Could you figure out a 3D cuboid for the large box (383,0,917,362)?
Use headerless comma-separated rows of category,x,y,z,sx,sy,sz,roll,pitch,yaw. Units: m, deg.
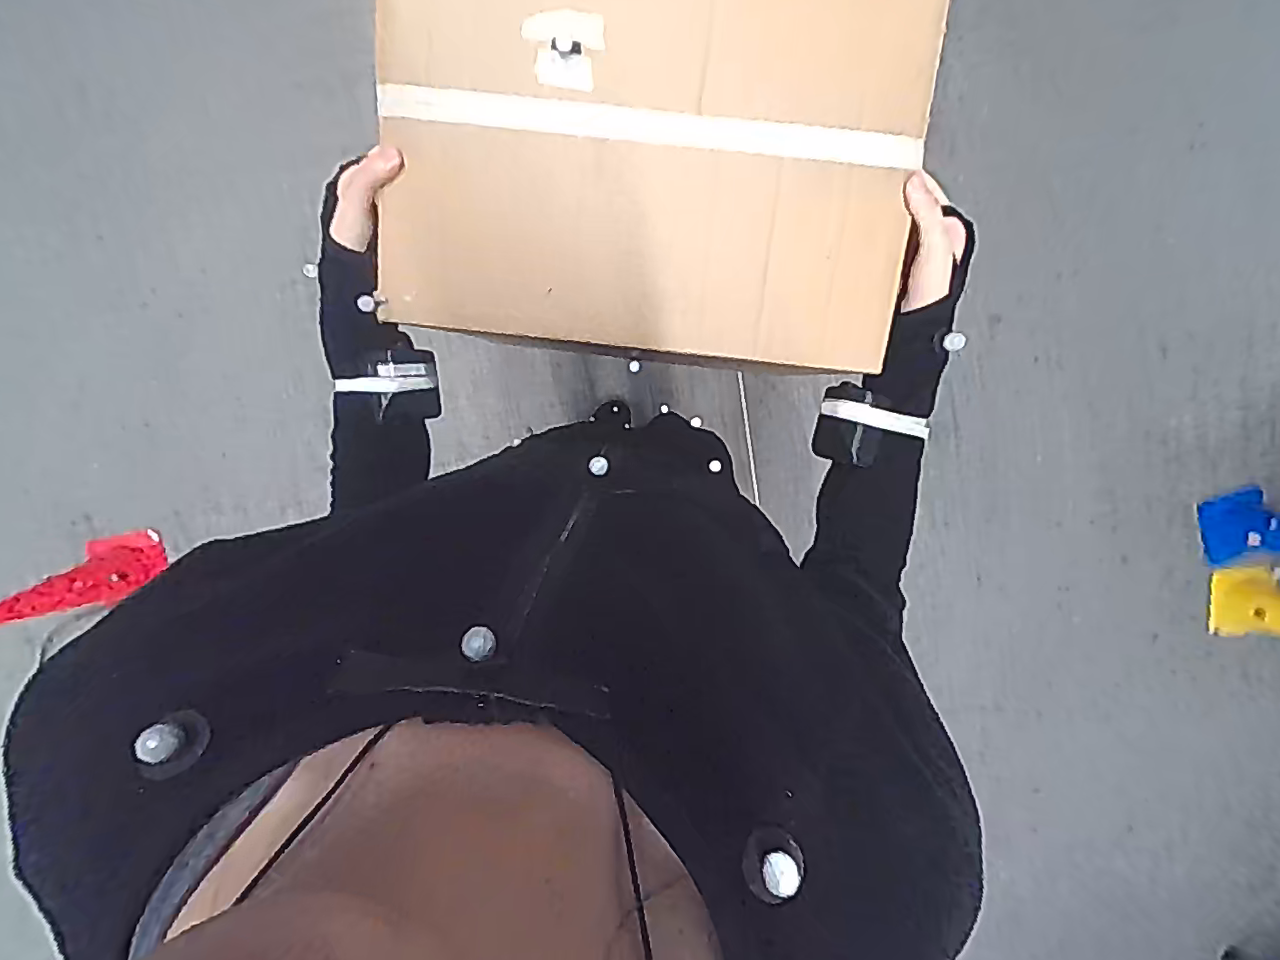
large box,0.003,-0.297,0.566,0.408,0.320,0.320,6,101,0
